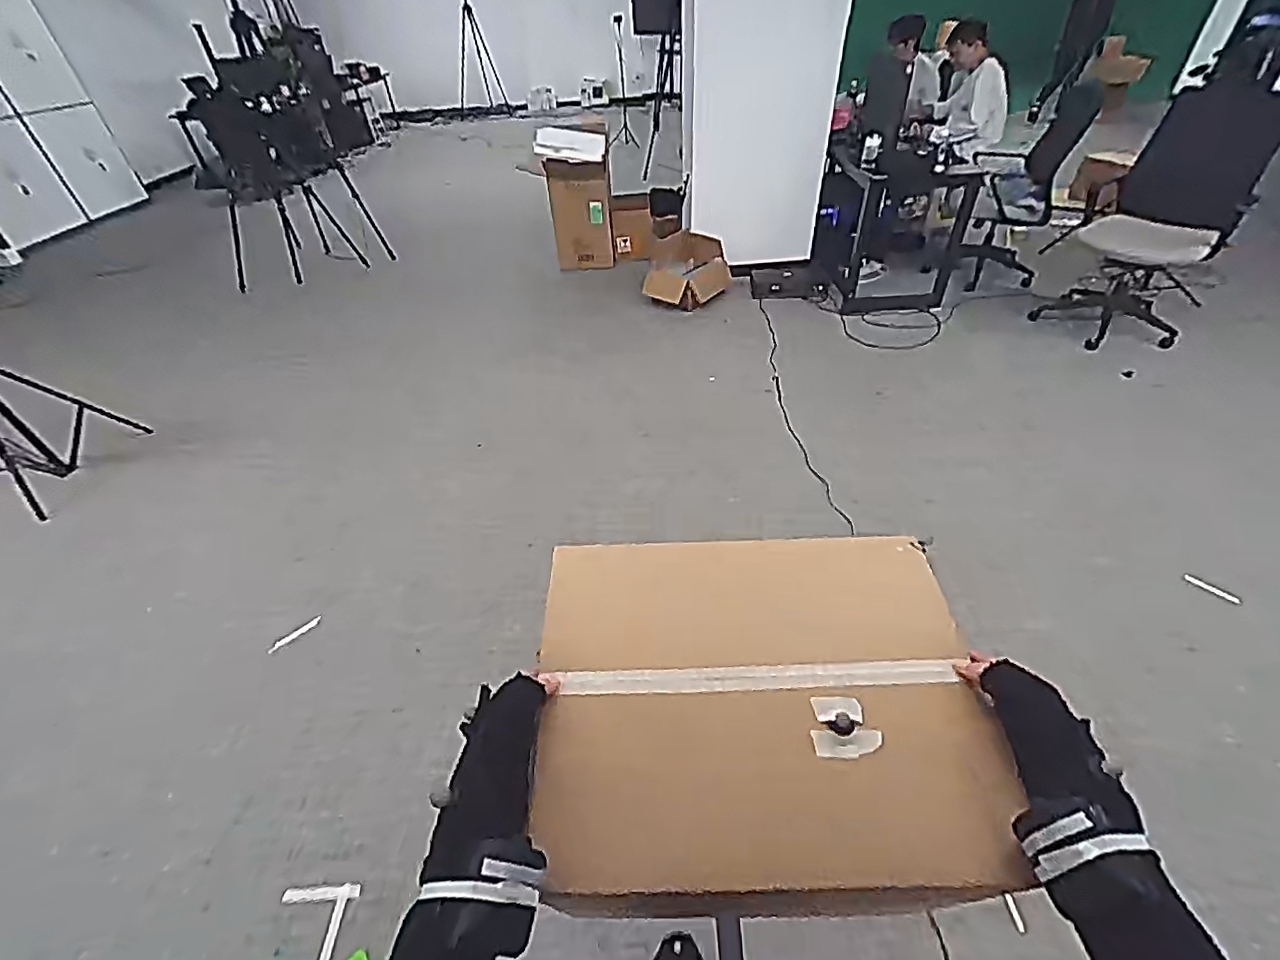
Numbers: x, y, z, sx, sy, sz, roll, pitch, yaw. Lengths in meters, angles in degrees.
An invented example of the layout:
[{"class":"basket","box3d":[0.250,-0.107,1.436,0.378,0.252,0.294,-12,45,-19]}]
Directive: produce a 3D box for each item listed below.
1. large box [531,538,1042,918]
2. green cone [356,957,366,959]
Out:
[{"class":"large box","box3d":[0.111,0.286,0.621,0.408,0.320,0.320,-2,48,1]},{"class":"green cone","box3d":[-0.614,0.963,0.927,0.202,0.368,0.200,-31,47,-24]}]
